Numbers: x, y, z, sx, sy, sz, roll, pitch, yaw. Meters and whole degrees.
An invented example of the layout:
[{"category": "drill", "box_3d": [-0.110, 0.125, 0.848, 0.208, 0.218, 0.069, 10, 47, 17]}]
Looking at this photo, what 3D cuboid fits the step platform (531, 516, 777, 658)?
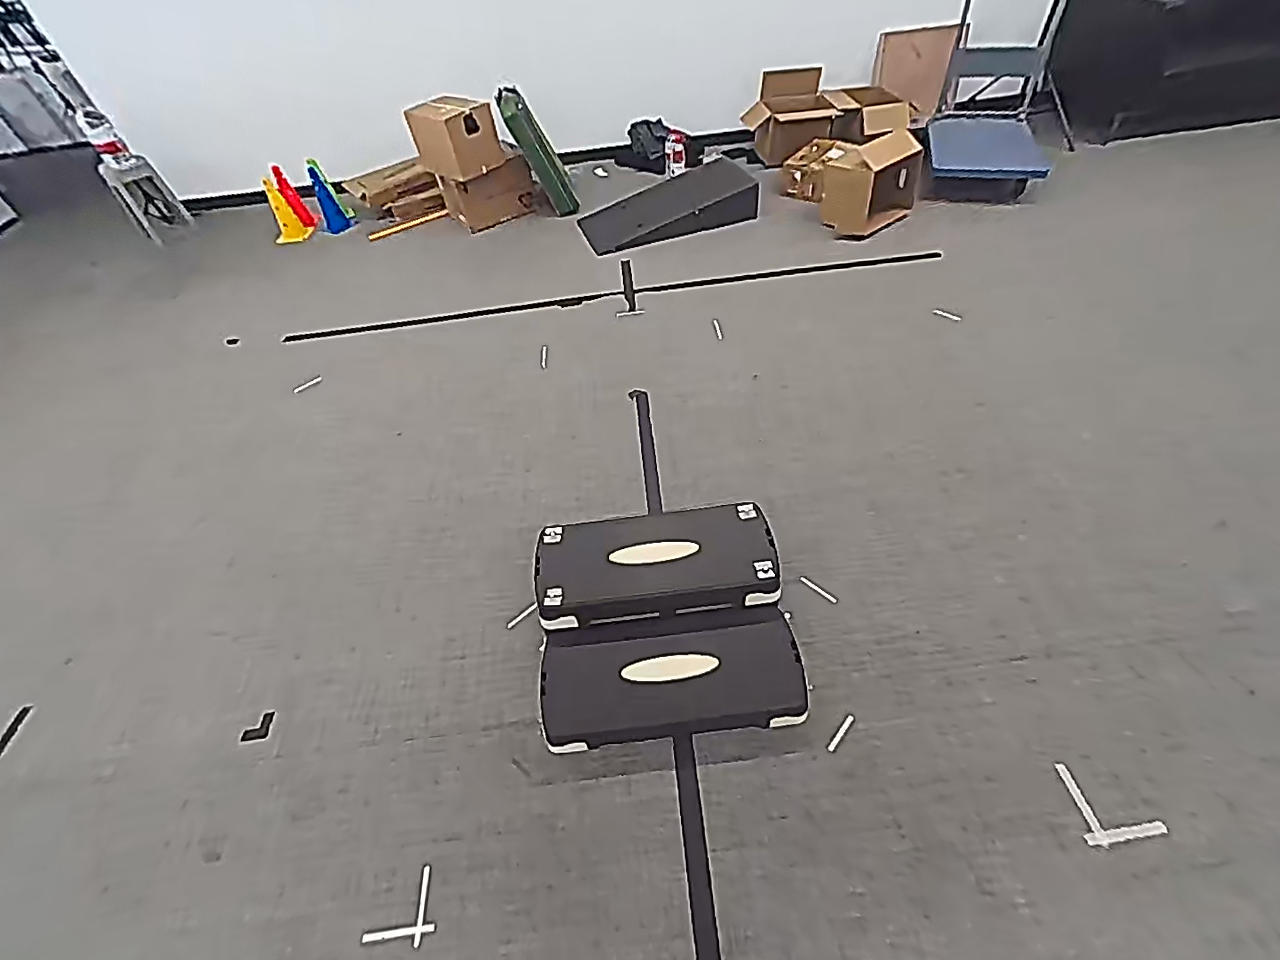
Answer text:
[{"category": "step platform", "box_3d": [0.035, 0.297, 1.543, 0.684, 0.204, 0.286, -7, 49, -1]}]
